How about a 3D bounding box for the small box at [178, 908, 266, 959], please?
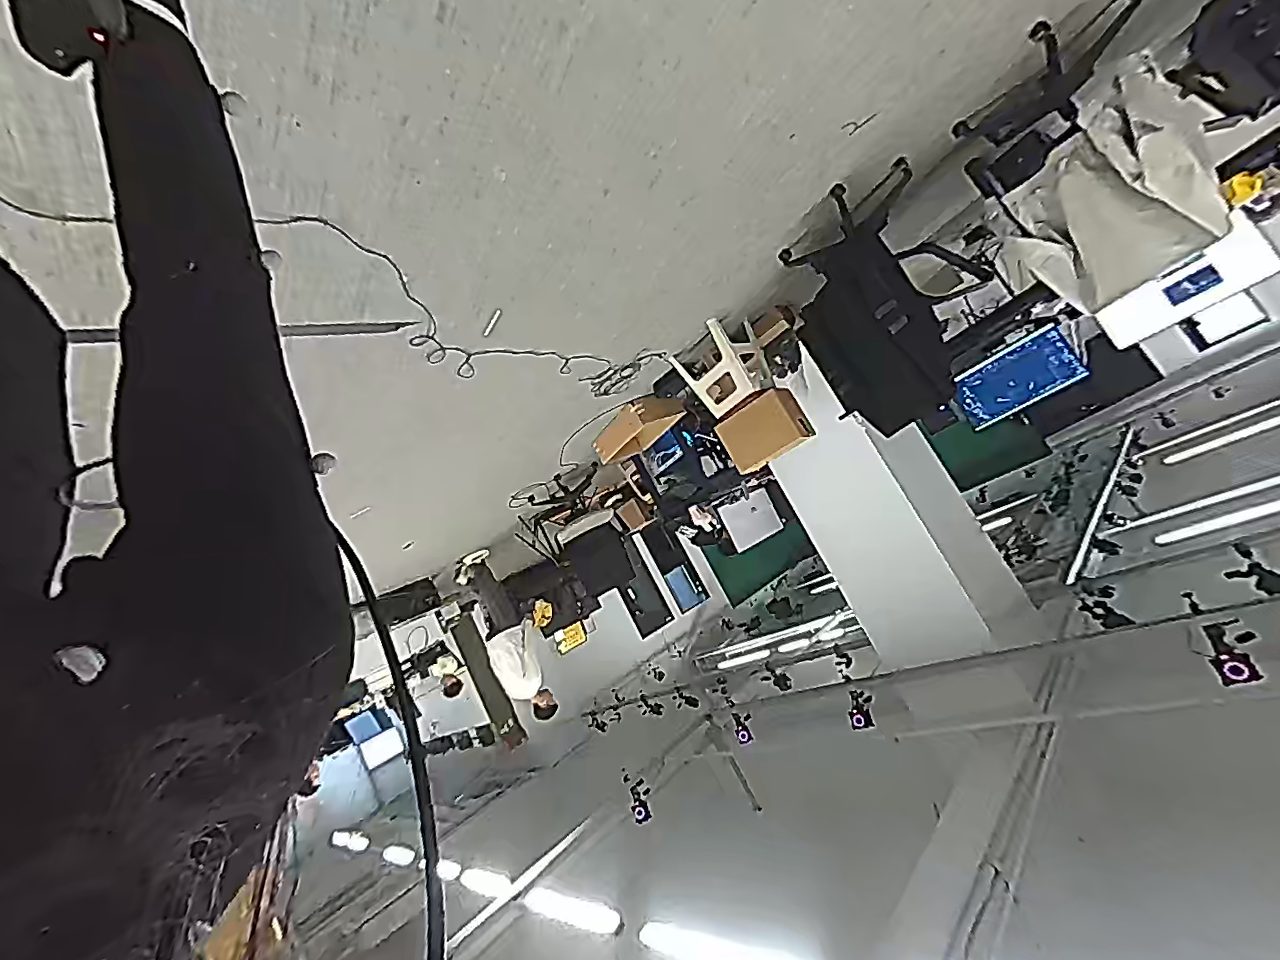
[{"bbox_3d":[-1.281,1.461,1.663,0.179,0.176,0.168,-19,166,-41],"label":"small box"}]
